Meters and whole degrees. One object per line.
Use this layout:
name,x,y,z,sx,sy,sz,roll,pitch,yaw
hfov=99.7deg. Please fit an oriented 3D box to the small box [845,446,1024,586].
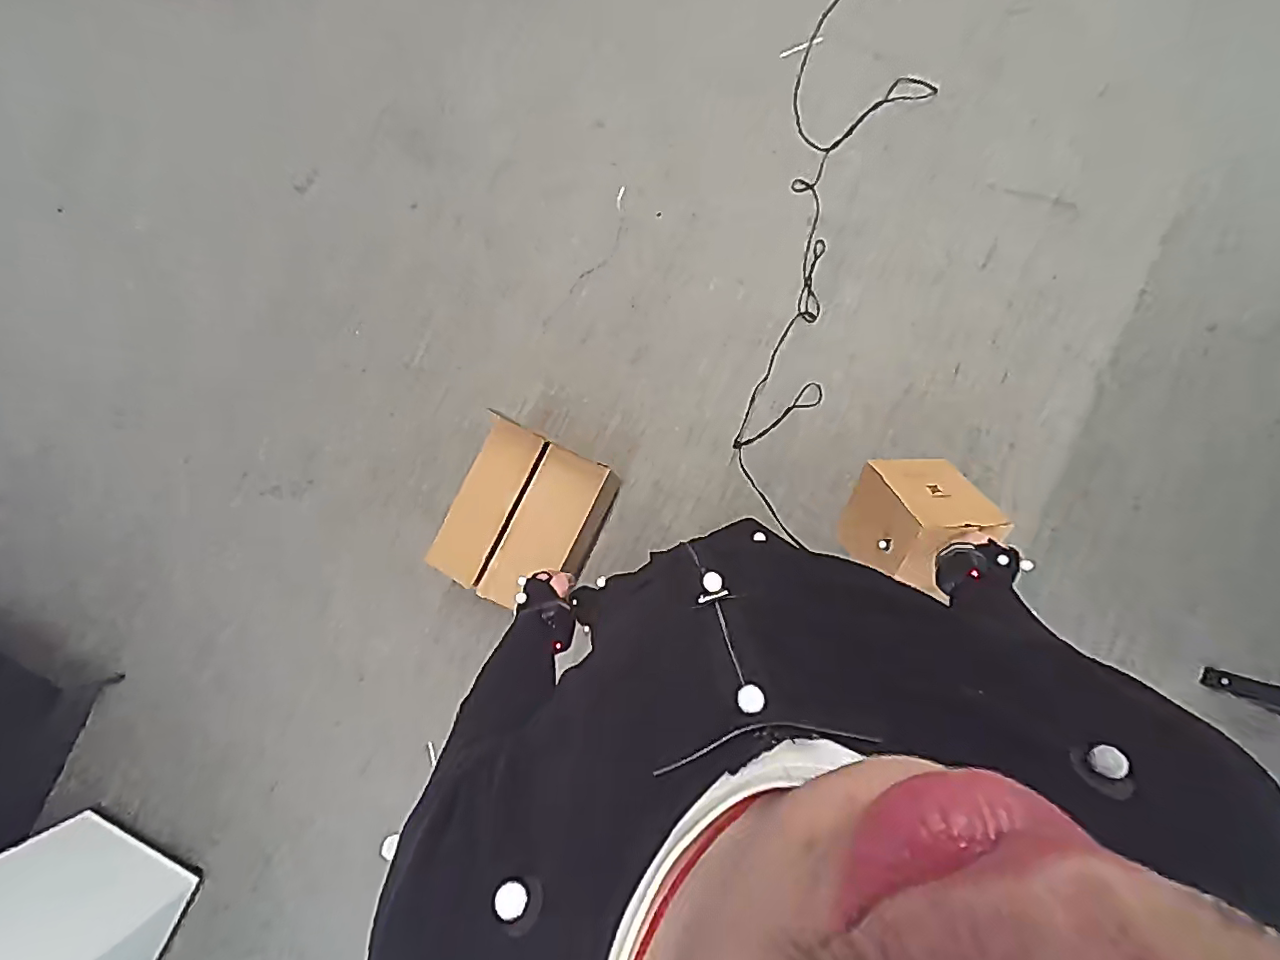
small box,0.478,0.063,0.909,0.168,0.179,0.176,3,128,-11
